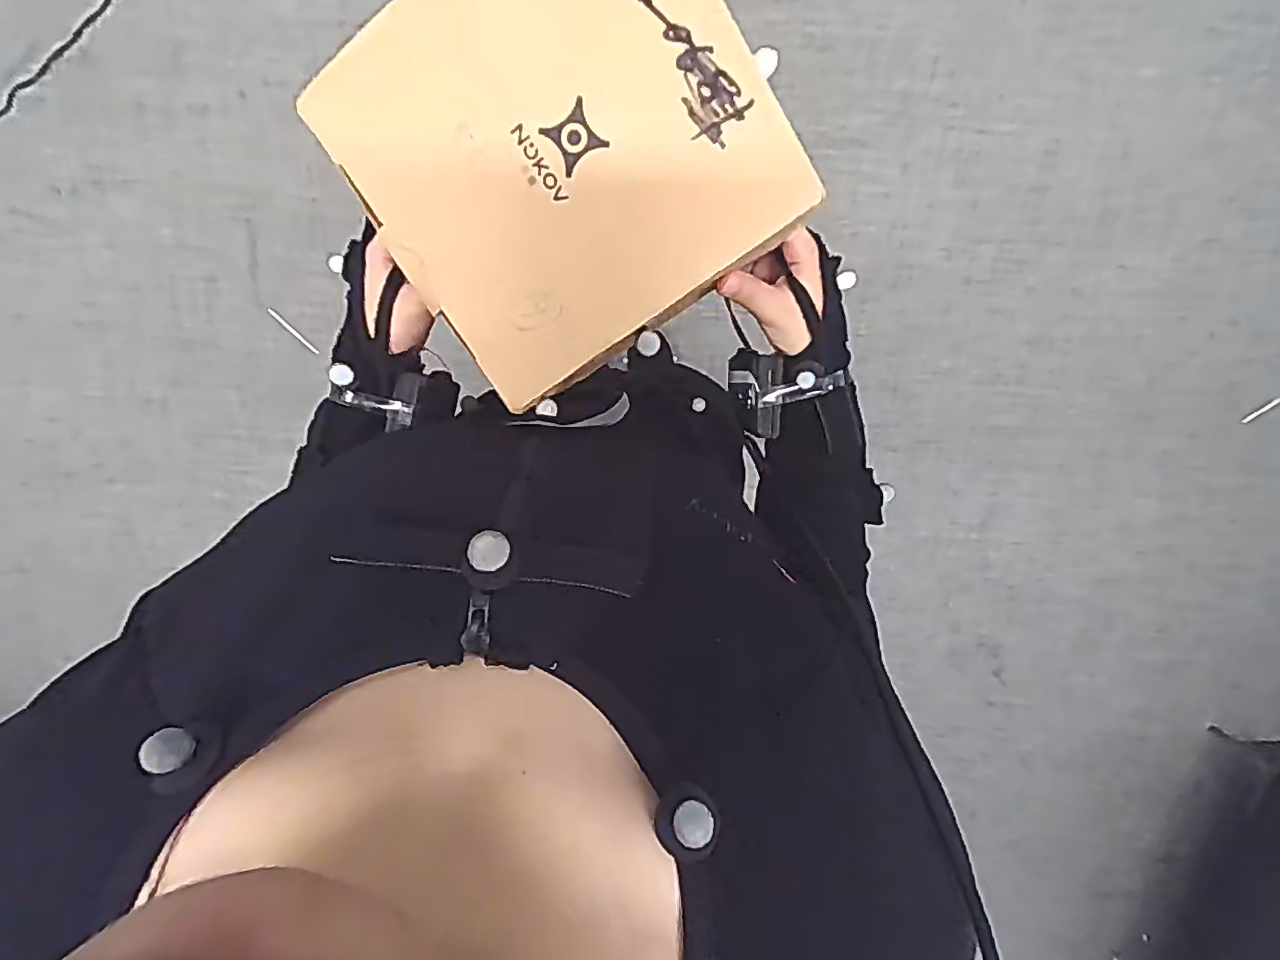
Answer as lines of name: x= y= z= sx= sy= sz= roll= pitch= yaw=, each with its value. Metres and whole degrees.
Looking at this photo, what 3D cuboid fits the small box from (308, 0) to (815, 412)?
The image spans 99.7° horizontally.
small box: x=-0.029 y=-0.161 z=0.314 sx=0.179 sy=0.176 sz=0.168 roll=-32 pitch=101 yaw=12
